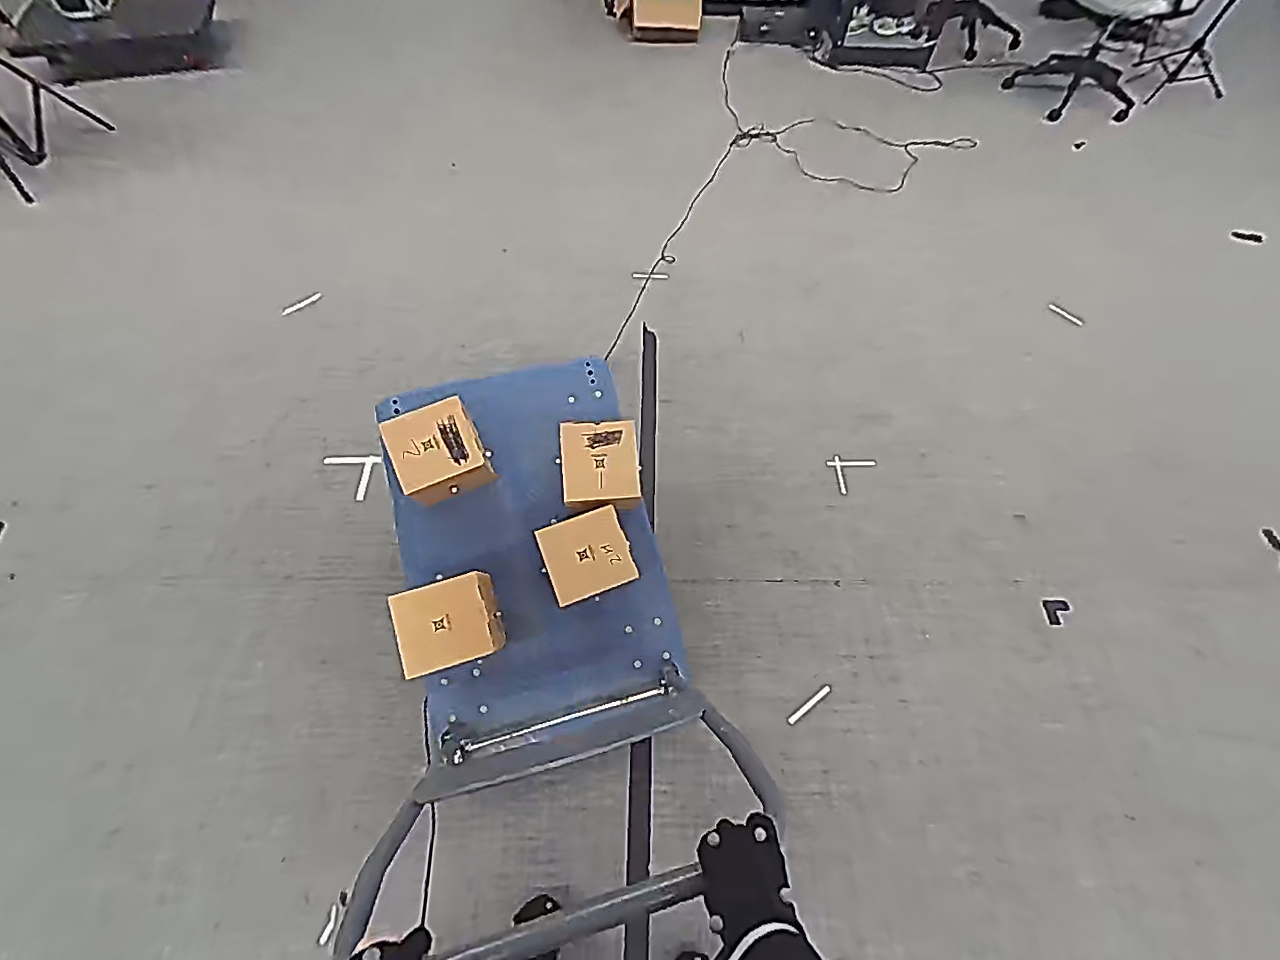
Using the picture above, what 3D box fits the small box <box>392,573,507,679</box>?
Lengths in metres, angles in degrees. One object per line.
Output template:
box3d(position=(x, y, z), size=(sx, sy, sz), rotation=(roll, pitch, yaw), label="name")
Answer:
box3d(position=(-0.393, 0.302, 1.137), size=(0.179, 0.176, 0.168), rotation=(-15, 80, -11), label="small box")

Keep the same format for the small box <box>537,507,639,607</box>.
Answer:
box3d(position=(-0.113, 0.174, 1.193), size=(0.179, 0.176, 0.168), rotation=(-19, 81, -9), label="small box")

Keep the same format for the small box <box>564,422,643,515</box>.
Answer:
box3d(position=(-0.088, -0.022, 1.238), size=(0.168, 0.176, 0.179), rotation=(-4, 79, -6), label="small box")
